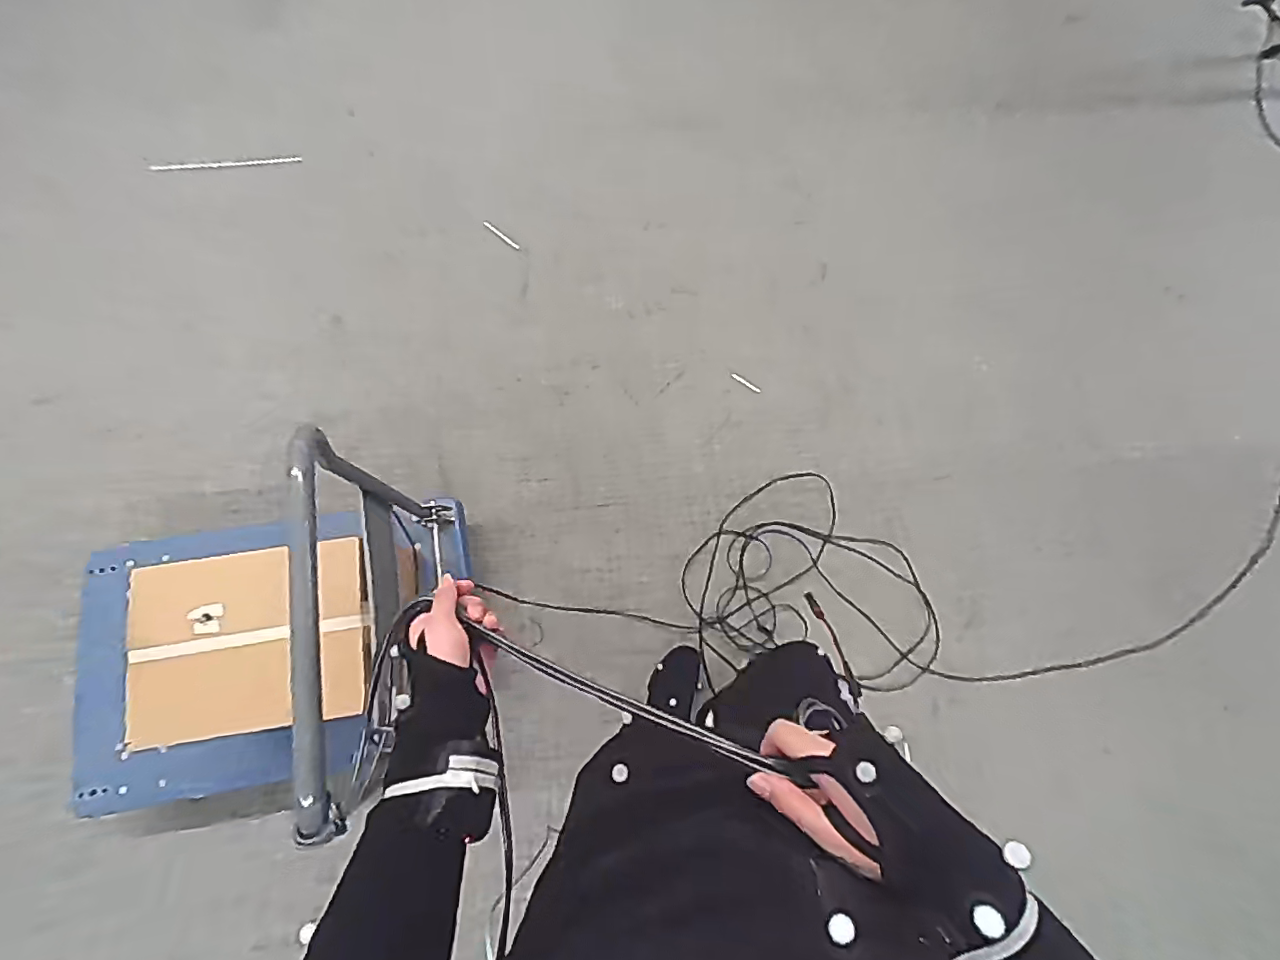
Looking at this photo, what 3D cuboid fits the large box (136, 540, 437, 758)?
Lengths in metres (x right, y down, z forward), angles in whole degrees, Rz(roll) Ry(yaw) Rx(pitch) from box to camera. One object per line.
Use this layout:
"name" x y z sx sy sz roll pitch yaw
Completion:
"large box" -0.671 0.318 1.090 0.408 0.320 0.320 -9 77 -3
